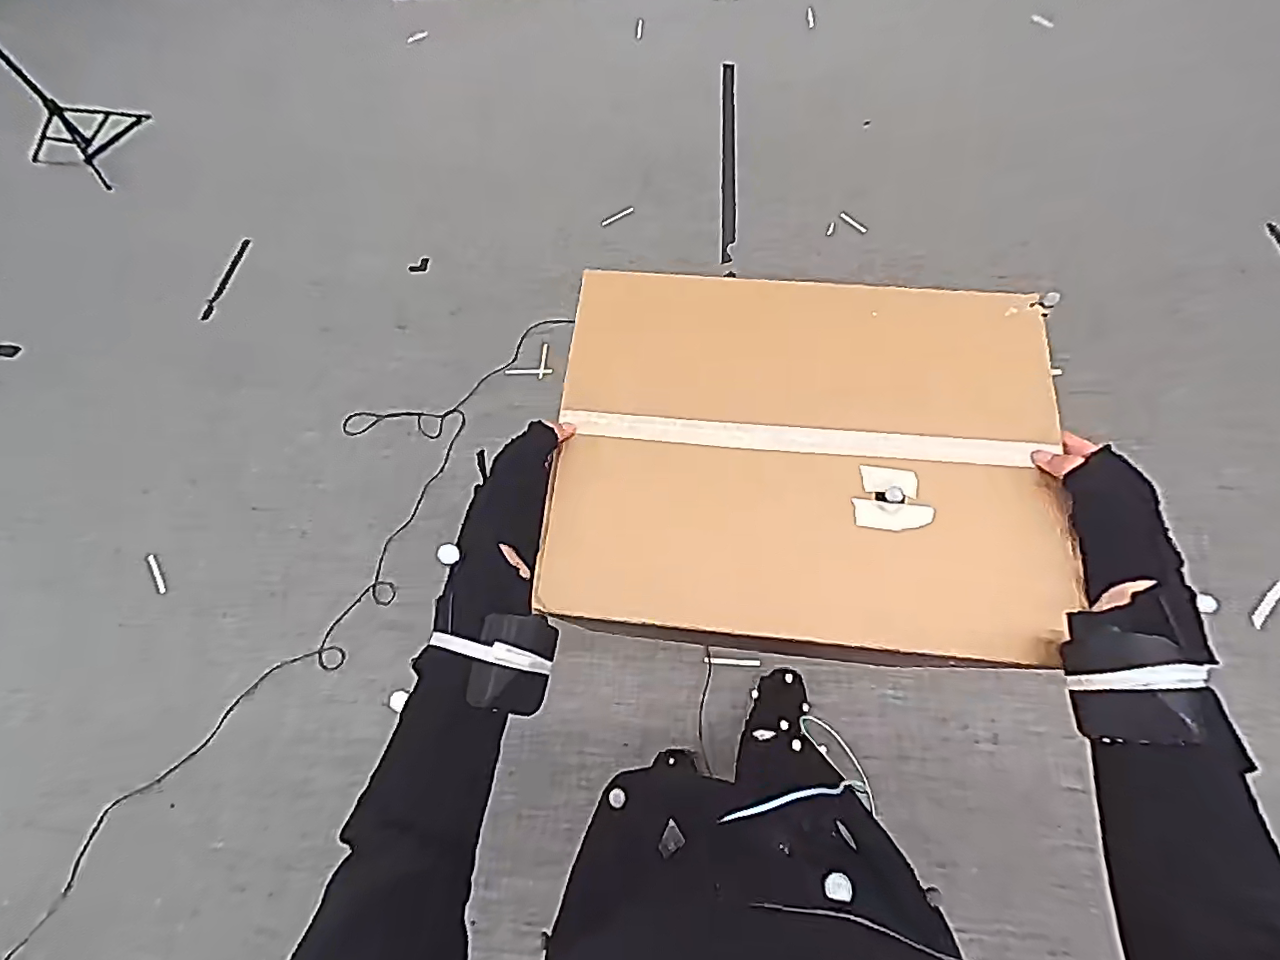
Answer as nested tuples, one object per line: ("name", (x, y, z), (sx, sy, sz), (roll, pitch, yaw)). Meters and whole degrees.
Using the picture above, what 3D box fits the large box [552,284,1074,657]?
("large box", (0.143, 0.017, 0.599), (0.408, 0.320, 0.320), (5, 73, 4))
